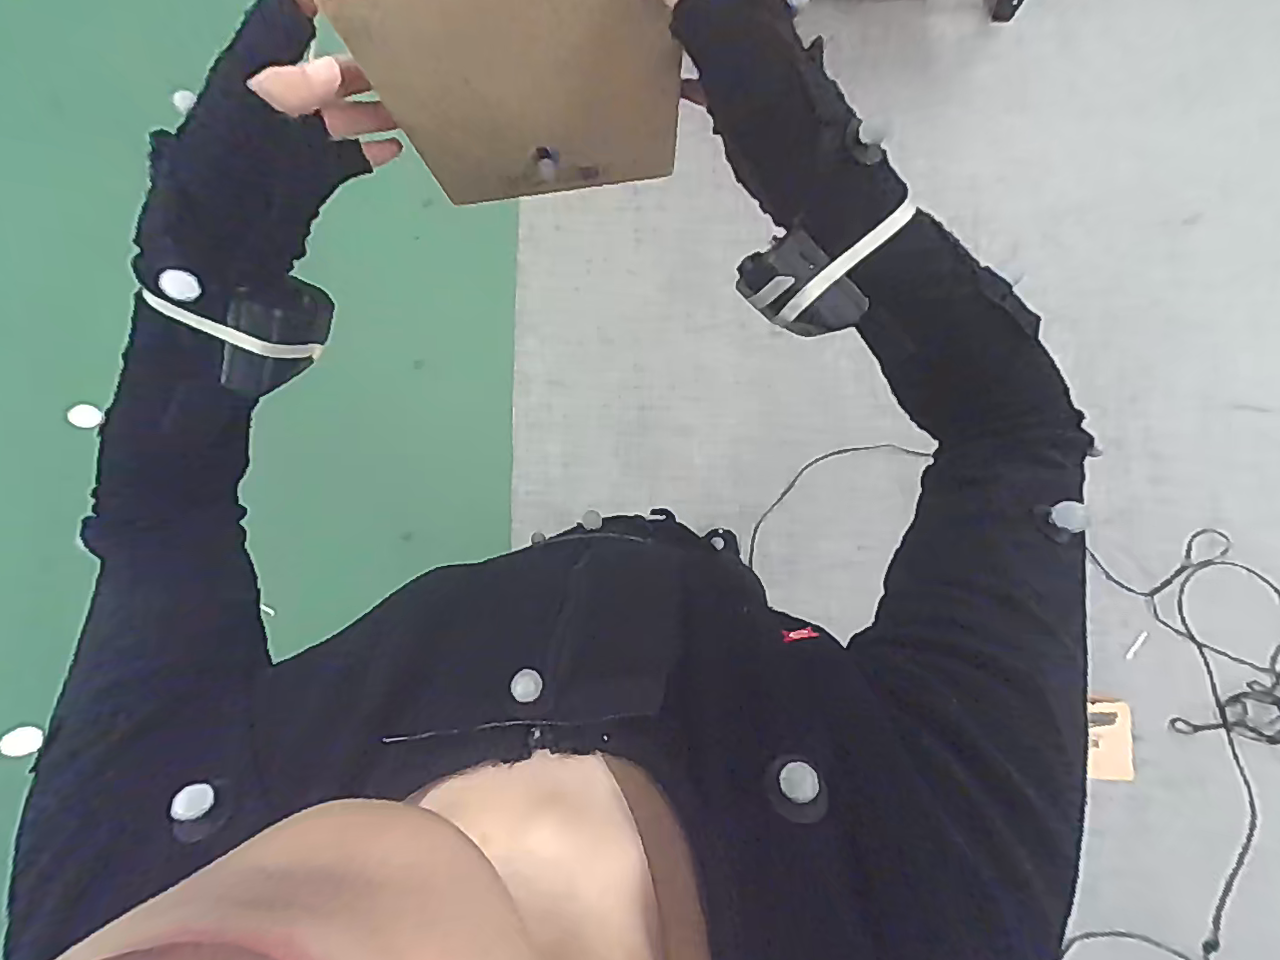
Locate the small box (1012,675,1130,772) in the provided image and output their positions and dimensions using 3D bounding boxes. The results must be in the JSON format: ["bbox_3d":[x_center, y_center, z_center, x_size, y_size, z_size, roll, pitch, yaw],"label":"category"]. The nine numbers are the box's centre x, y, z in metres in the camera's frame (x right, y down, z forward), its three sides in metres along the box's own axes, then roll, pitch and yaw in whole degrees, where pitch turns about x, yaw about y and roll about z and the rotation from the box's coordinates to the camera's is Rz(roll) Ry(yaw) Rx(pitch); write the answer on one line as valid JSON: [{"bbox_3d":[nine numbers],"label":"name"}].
[{"bbox_3d":[1.055,0.593,1.337,0.168,0.176,0.179,2,85,2],"label":"small box"}]
